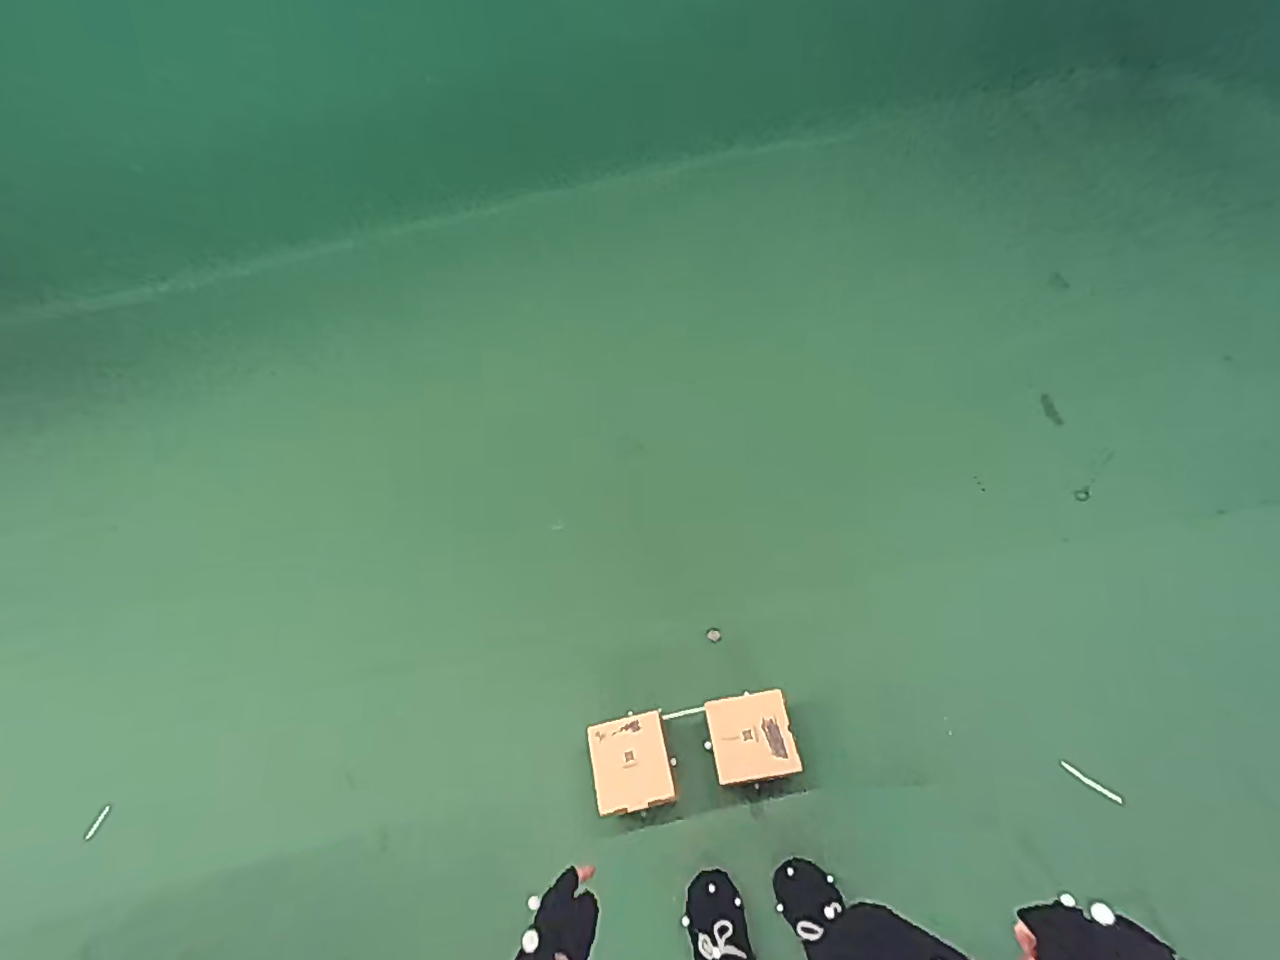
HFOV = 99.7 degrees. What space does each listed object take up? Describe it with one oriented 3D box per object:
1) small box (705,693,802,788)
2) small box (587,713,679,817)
[{"bbox_3d":[0.248,0.592,1.223,0.179,0.176,0.168,-11,58,3],"label":"small box"},{"bbox_3d":[-0.012,0.648,1.230,0.168,0.176,0.179,-14,59,0],"label":"small box"}]
